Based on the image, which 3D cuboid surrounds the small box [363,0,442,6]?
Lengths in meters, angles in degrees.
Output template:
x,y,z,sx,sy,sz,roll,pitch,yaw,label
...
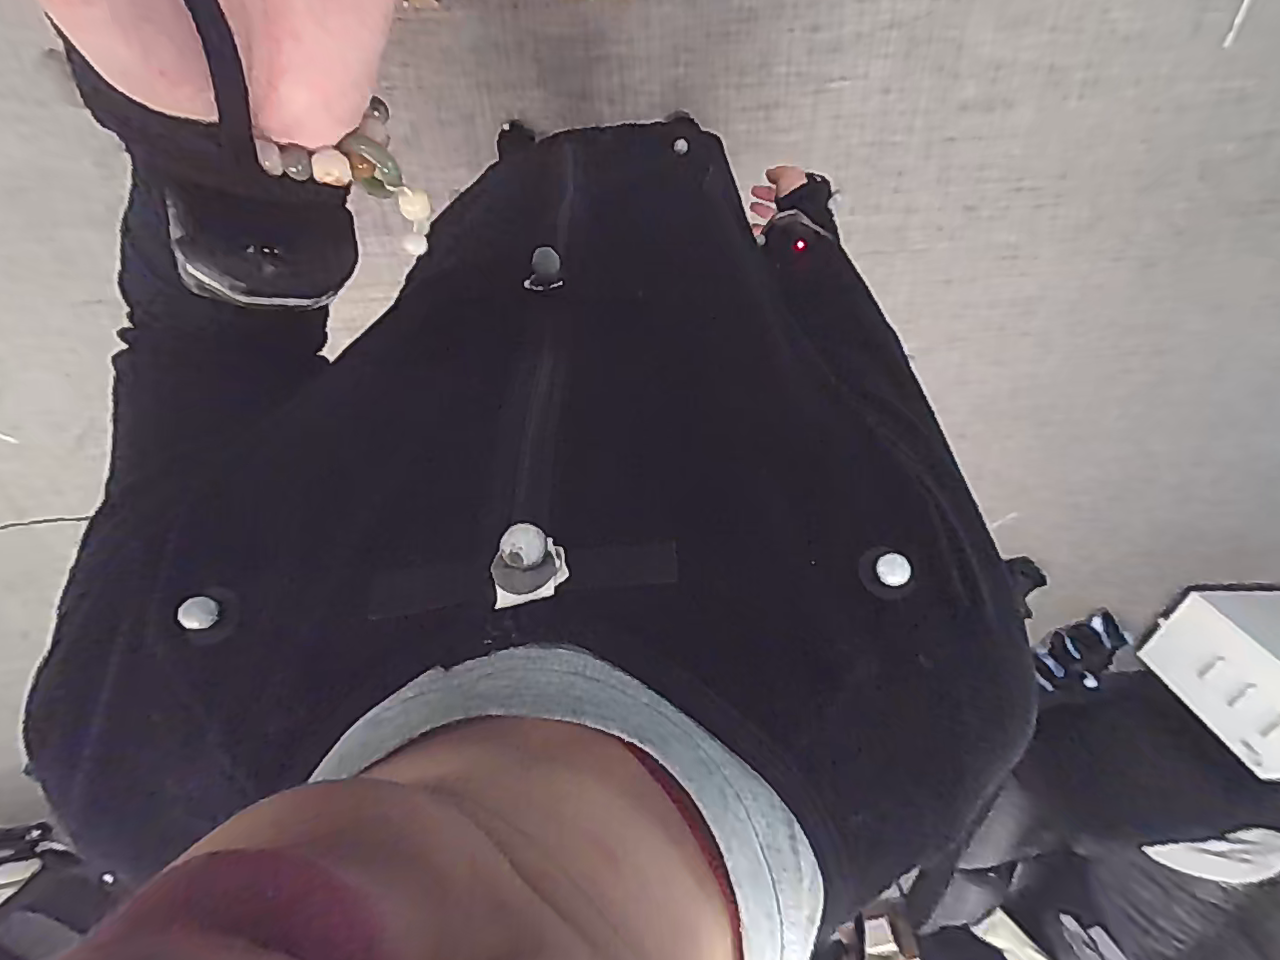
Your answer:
x,y,z,sx,sy,sz,roll,pitch,yaw,label
-0.463,-0.969,0.961,0.168,0.176,0.179,-2,124,-5,small box
